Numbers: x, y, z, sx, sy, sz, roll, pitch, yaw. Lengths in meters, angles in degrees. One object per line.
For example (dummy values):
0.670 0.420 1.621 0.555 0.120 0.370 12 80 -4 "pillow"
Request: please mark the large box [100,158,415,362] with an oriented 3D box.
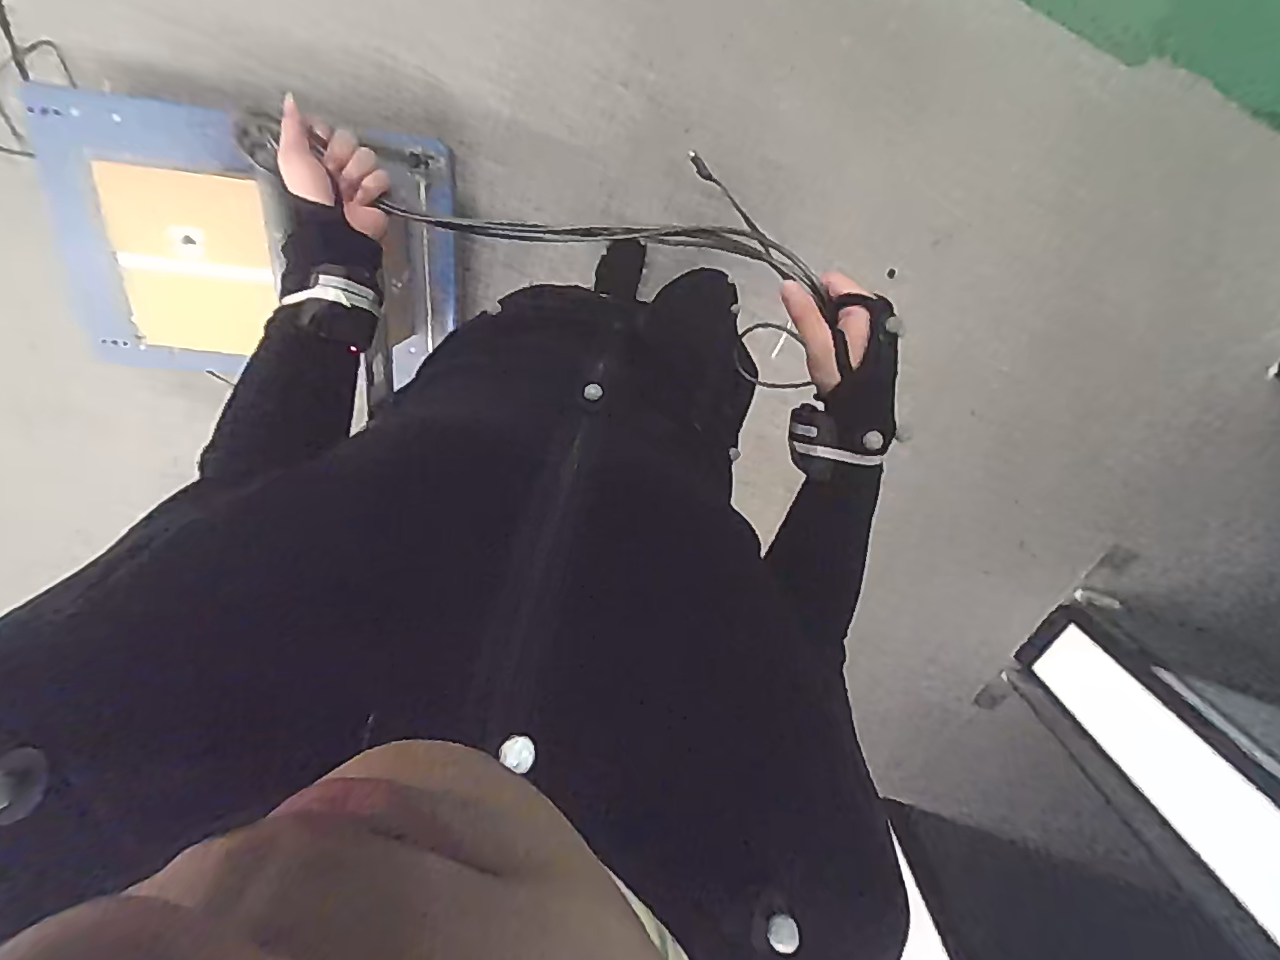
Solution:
-0.728 -0.453 1.115 0.408 0.320 0.320 7 116 -3 "large box"
